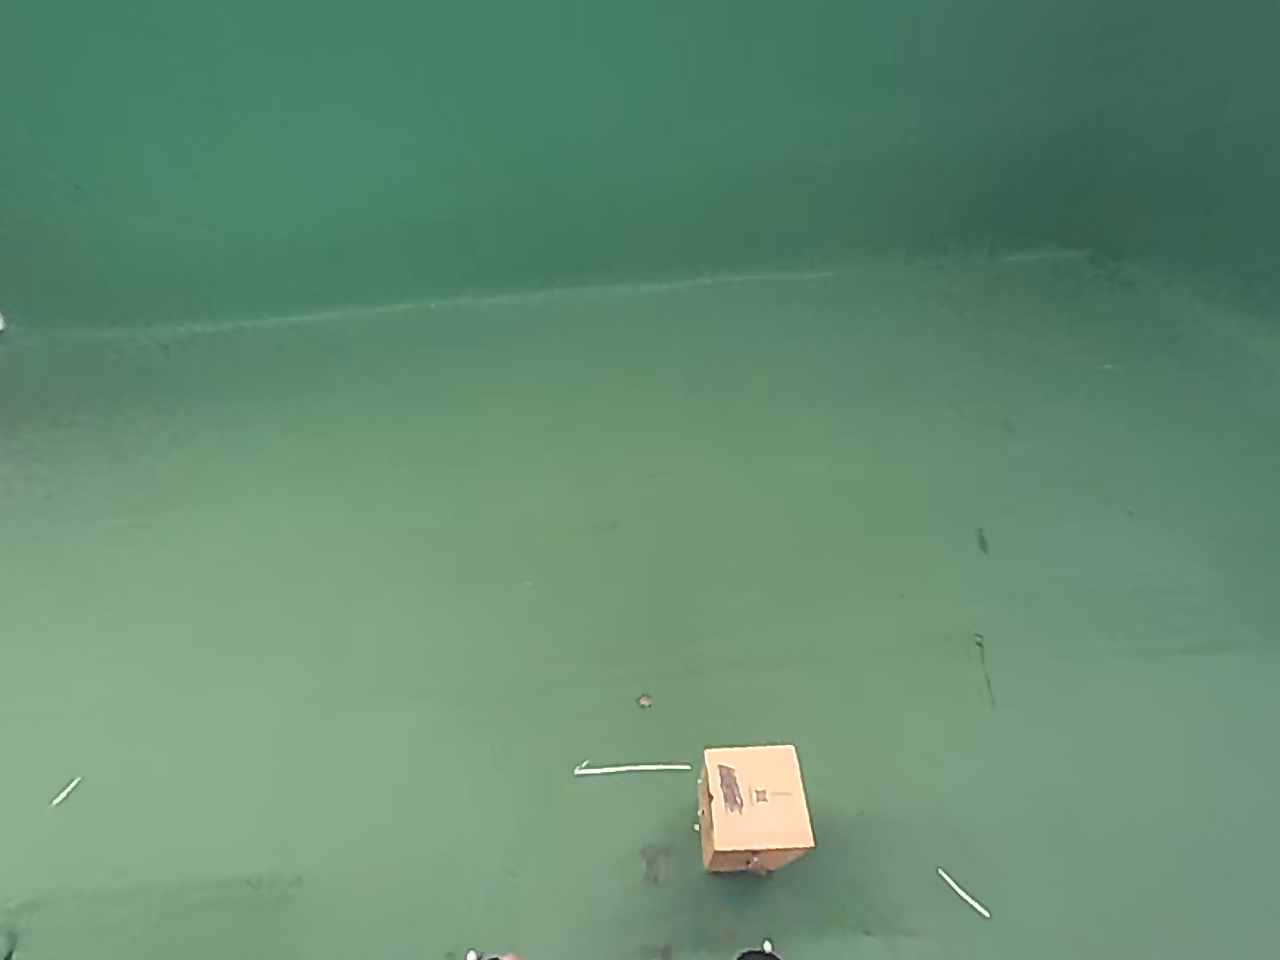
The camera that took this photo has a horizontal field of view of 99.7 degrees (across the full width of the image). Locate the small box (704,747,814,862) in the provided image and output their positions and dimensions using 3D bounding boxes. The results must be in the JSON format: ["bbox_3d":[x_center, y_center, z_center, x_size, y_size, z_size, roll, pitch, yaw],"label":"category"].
[{"bbox_3d":[0.217,0.628,1.042,0.179,0.176,0.168,-3,51,1],"label":"small box"}]

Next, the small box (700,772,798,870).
[{"bbox_3d":[0.226,0.734,1.167,0.179,0.176,0.168,-4,50,2],"label":"small box"}]

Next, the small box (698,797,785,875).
[{"bbox_3d":[0.235,0.835,1.293,0.179,0.176,0.168,-2,50,2],"label":"small box"}]
